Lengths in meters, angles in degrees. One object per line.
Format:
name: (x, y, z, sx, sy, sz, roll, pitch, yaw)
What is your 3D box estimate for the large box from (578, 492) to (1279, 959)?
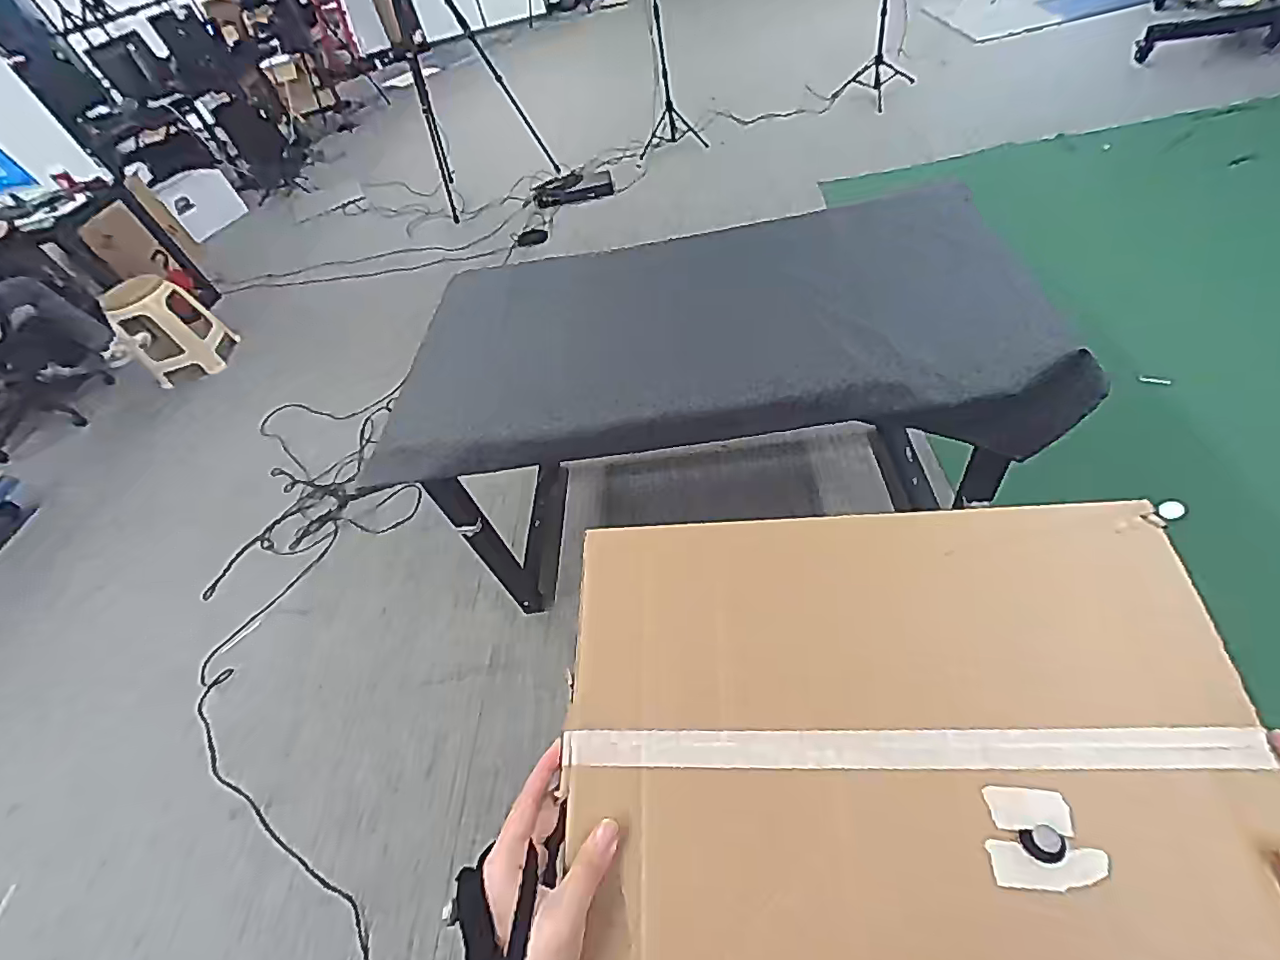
large box: (0.178, 0.229, 0.476, 0.408, 0.320, 0.320, -4, 61, 7)
